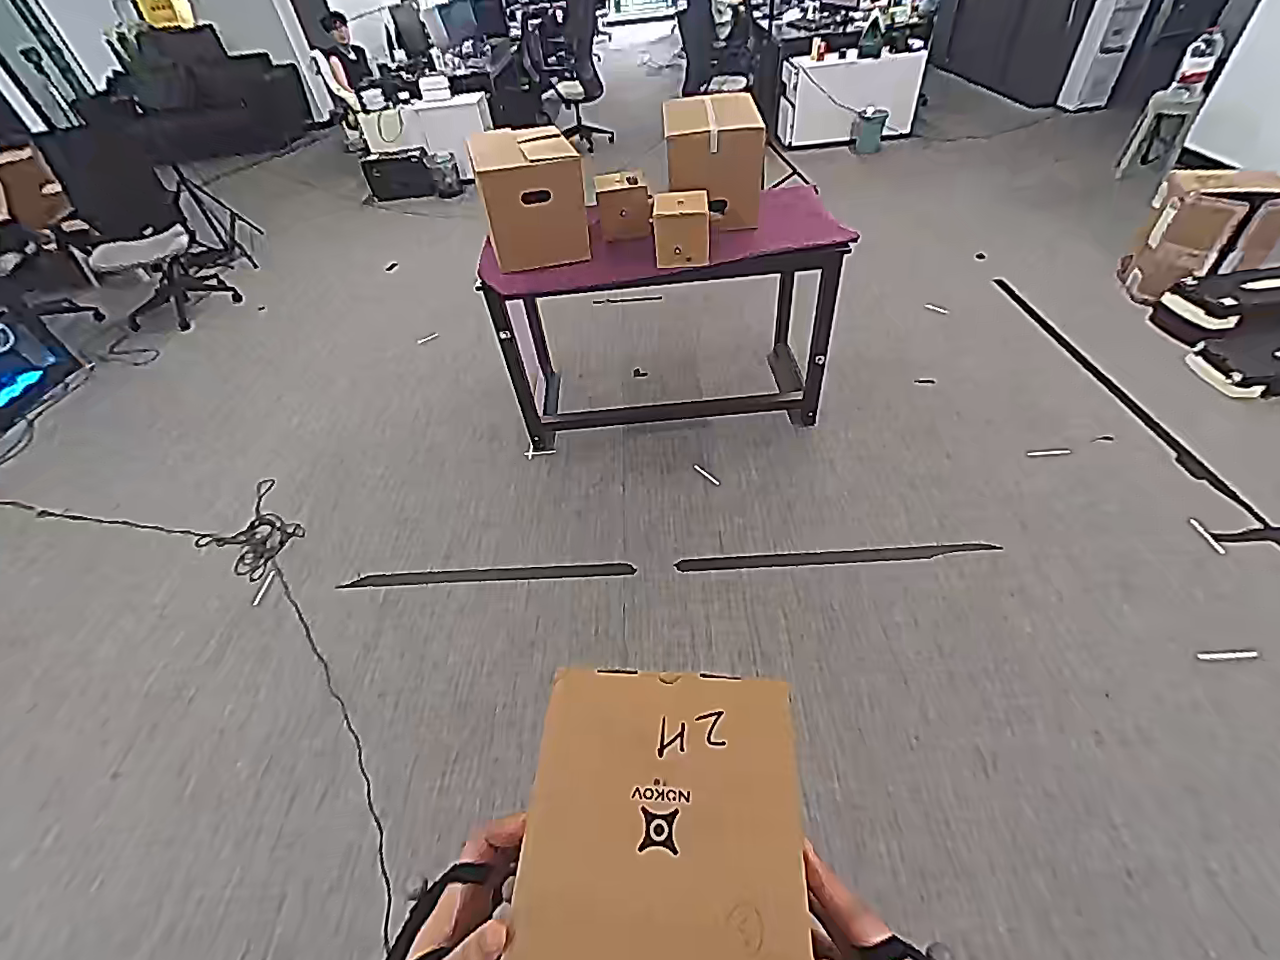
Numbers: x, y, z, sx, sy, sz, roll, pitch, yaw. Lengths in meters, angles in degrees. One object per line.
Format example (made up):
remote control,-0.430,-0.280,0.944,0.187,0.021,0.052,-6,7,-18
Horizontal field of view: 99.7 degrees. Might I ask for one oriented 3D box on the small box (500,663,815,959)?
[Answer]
small box,0.020,0.250,0.380,0.168,0.176,0.179,1,48,6
